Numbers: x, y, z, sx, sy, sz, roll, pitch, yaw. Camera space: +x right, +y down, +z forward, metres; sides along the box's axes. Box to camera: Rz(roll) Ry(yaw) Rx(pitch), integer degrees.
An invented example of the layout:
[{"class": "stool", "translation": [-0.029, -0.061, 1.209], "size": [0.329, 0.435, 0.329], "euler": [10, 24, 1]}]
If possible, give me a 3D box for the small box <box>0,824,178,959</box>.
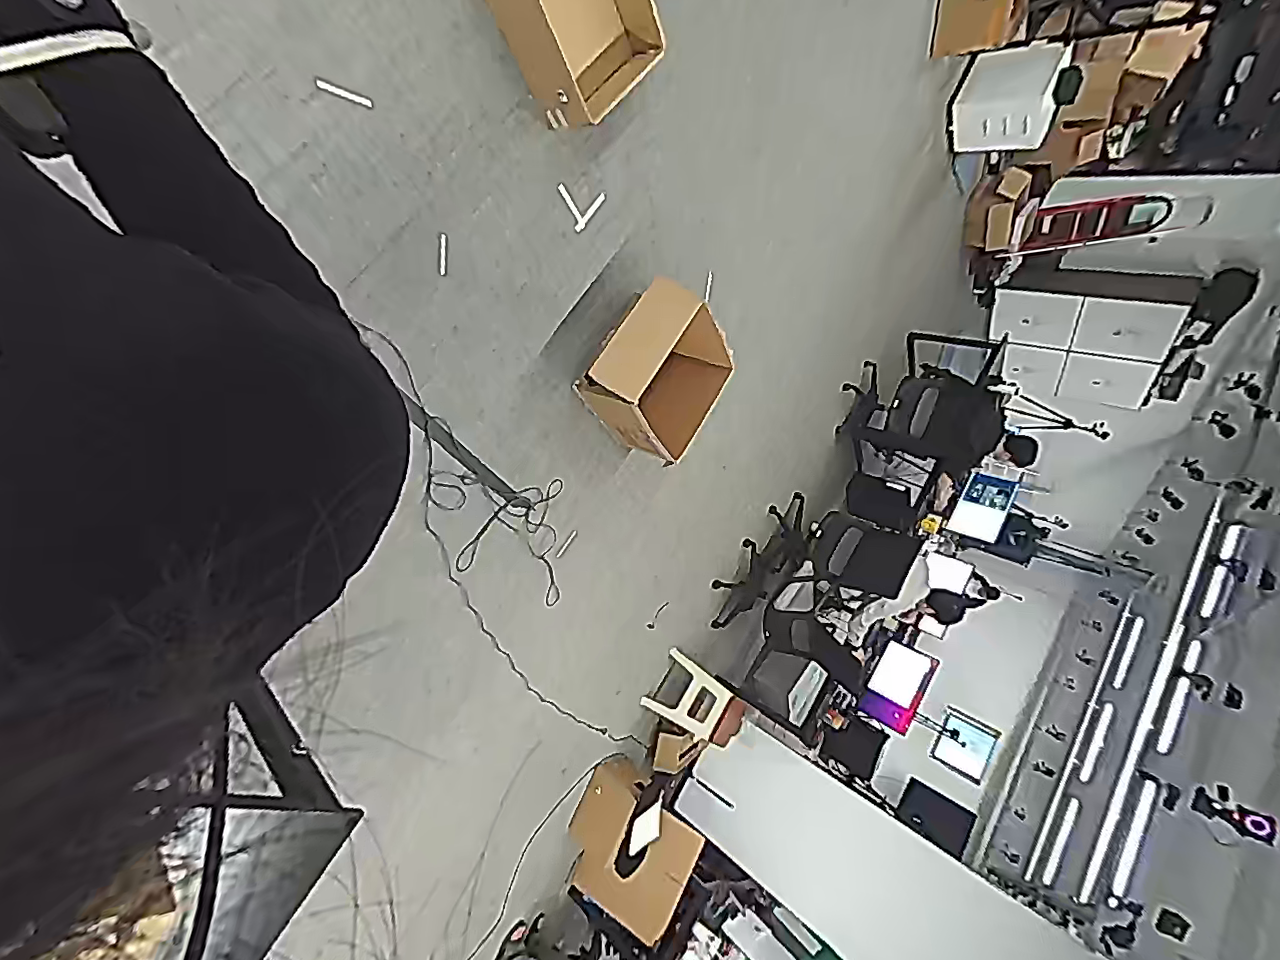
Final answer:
[{"class": "small box", "translation": [-0.680, 0.517, 0.604], "size": [0.179, 0.176, 0.168], "euler": [-60, 143, -10]}]
